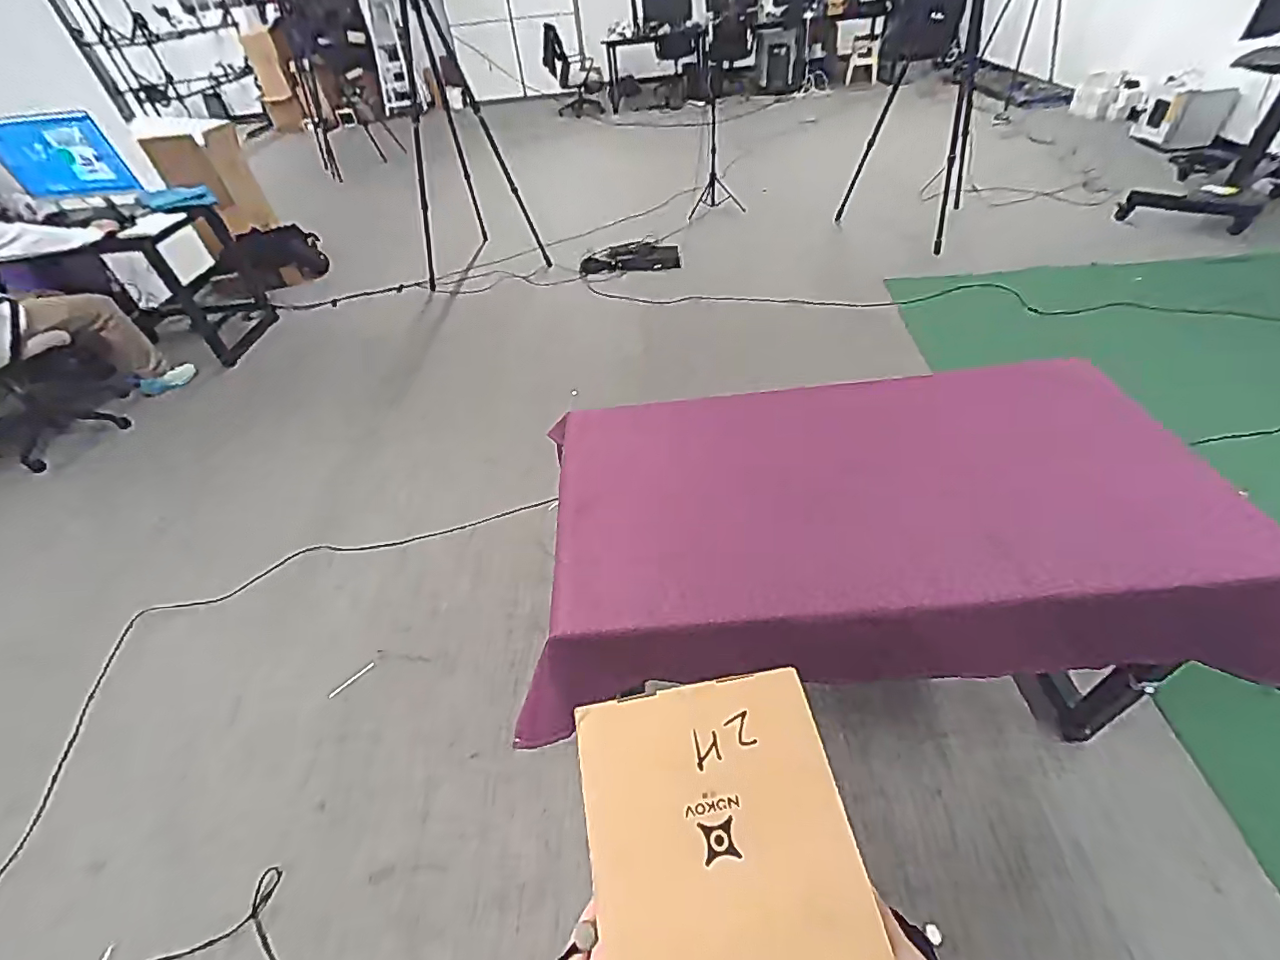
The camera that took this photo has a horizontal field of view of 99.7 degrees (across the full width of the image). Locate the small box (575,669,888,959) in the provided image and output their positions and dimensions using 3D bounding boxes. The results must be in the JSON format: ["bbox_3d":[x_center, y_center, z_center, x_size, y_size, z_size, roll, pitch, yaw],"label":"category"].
[{"bbox_3d":[0.049,0.265,0.407,0.168,0.176,0.179,-9,55,-5],"label":"small box"}]
